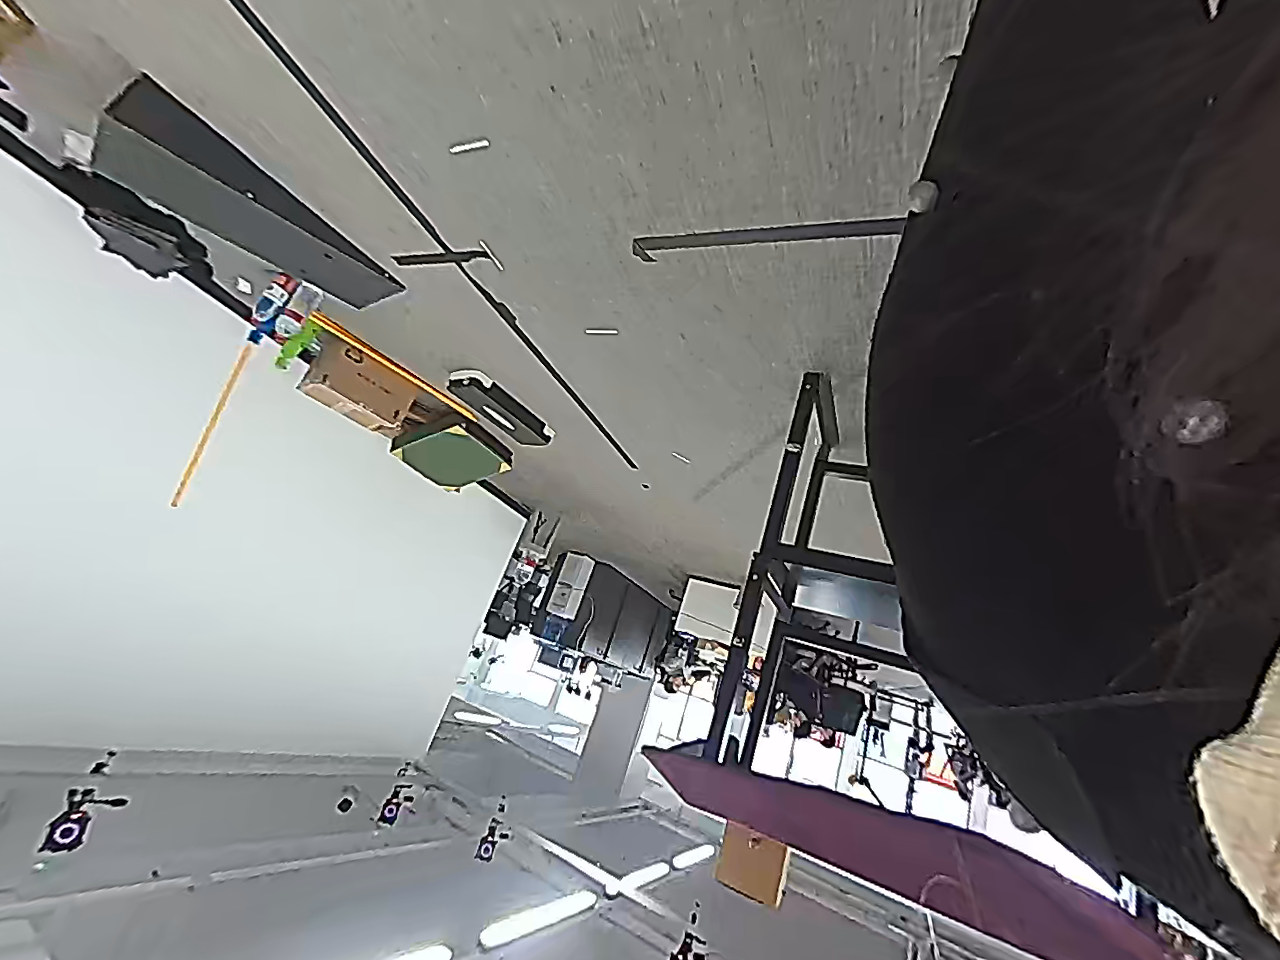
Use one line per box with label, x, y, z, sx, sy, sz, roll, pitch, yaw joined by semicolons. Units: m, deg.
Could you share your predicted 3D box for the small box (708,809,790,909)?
small box;0.312;1.057;1.527;0.179;0.176;0.168;10;160;26
